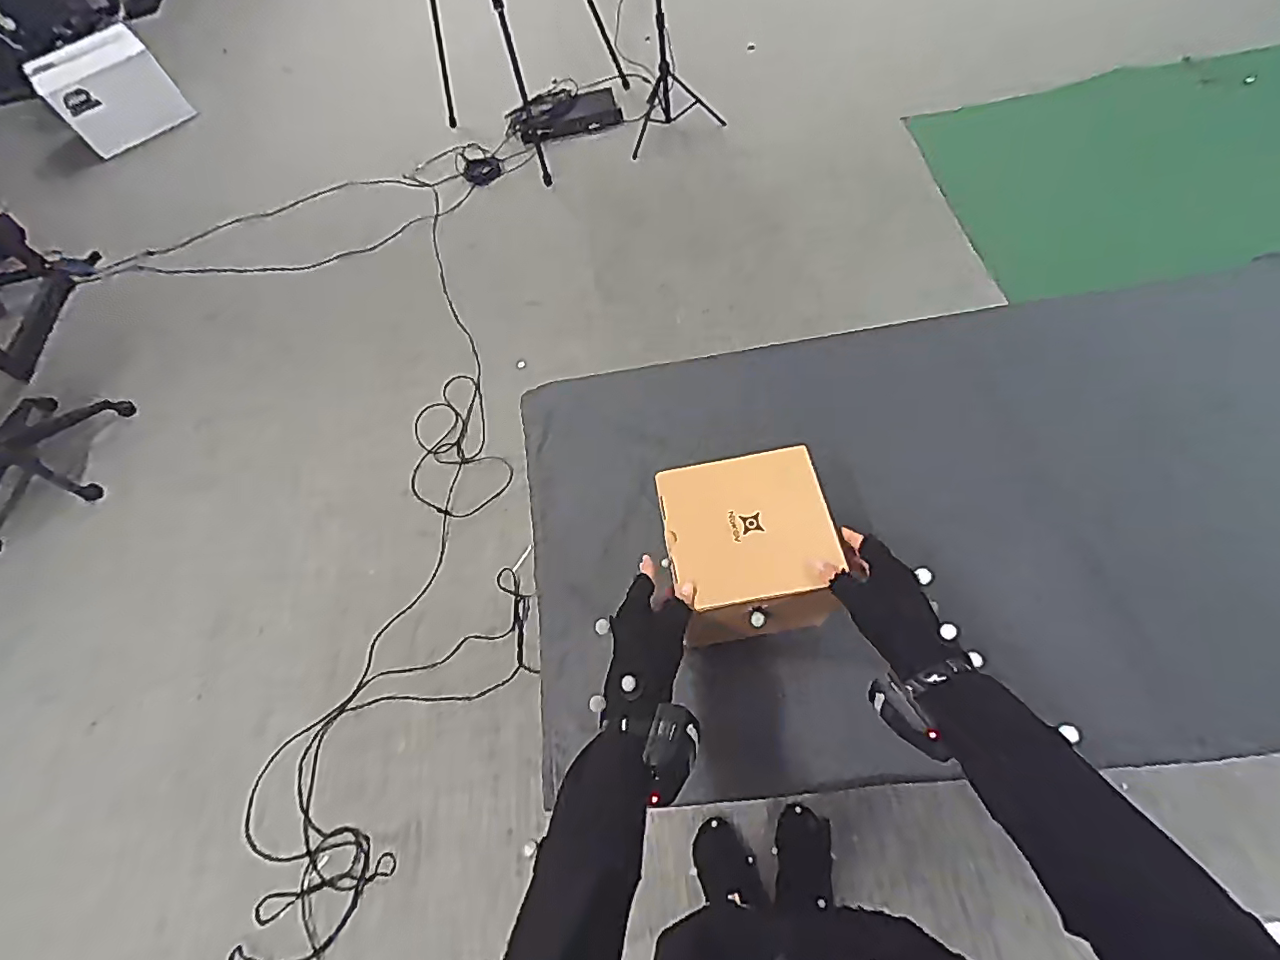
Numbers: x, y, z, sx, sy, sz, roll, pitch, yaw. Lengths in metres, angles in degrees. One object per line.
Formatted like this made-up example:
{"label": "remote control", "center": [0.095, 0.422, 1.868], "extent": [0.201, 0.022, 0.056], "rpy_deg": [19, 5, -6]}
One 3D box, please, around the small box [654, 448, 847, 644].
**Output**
{"label": "small box", "center": [0.119, 0.086, 0.643], "extent": [0.179, 0.176, 0.168], "rpy_deg": [-11, 61, 3]}
